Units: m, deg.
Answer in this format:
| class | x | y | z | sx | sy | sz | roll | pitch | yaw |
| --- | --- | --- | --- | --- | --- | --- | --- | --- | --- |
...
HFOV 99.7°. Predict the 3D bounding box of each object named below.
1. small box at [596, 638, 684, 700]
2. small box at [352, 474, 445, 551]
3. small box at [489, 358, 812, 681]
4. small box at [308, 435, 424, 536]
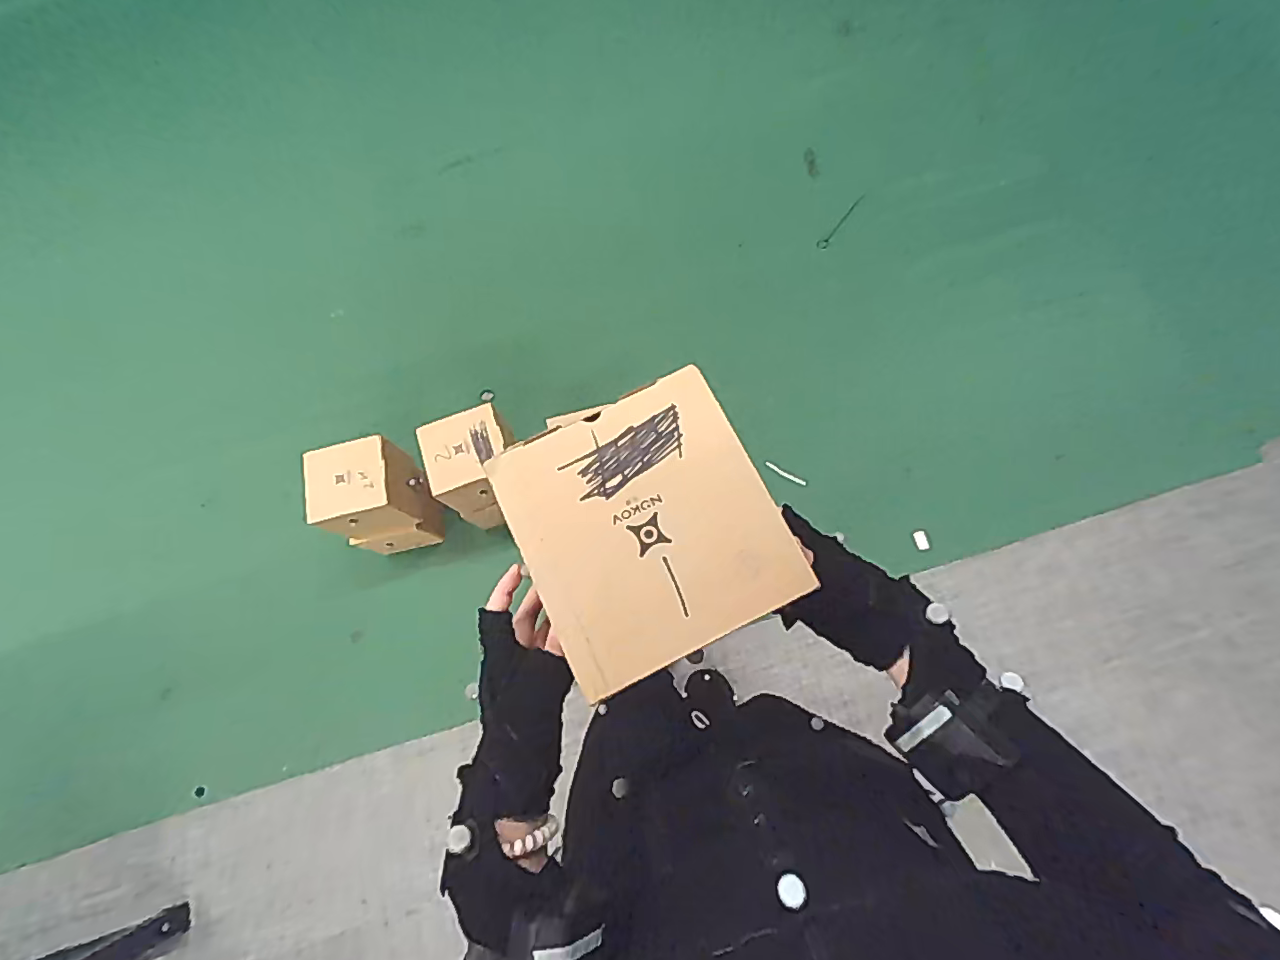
| class | x | y | z | sx | sy | sz | roll | pitch | yaw |
| --- | --- | --- | --- | --- | --- | --- | --- | --- | --- |
| small box | -0.010 | 0.390 | 1.266 | 0.179 | 0.176 | 0.168 | 15 | 89 | 25 |
| small box | -0.618 | 0.080 | 1.391 | 0.168 | 0.176 | 0.179 | -13 | 72 | 0 |
| small box | 0.004 | 0.039 | 0.437 | 0.168 | 0.176 | 0.179 | -25 | 76 | -4 |
| small box | -0.621 | 0.020 | 1.236 | 0.179 | 0.176 | 0.168 | -13 | 72 | 0 |
